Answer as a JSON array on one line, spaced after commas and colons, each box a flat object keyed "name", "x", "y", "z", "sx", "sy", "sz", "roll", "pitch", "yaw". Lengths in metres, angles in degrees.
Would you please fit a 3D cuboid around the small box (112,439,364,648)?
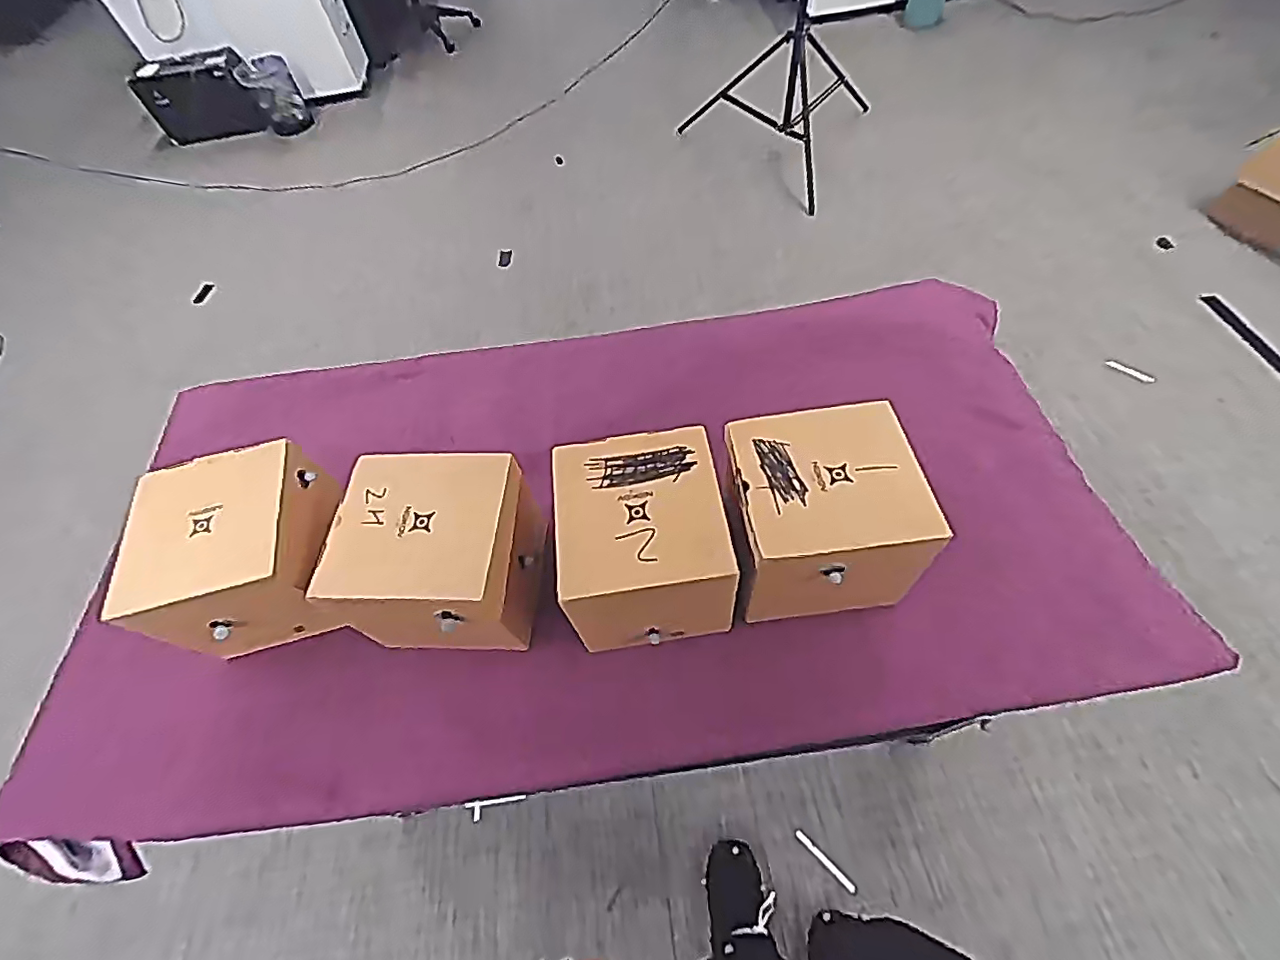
[{"name": "small box", "x": -0.448, "y": 0.085, "z": 0.638, "sx": 0.168, "sy": 0.176, "sz": 0.179, "roll": -16, "pitch": 58, "yaw": -4}]
